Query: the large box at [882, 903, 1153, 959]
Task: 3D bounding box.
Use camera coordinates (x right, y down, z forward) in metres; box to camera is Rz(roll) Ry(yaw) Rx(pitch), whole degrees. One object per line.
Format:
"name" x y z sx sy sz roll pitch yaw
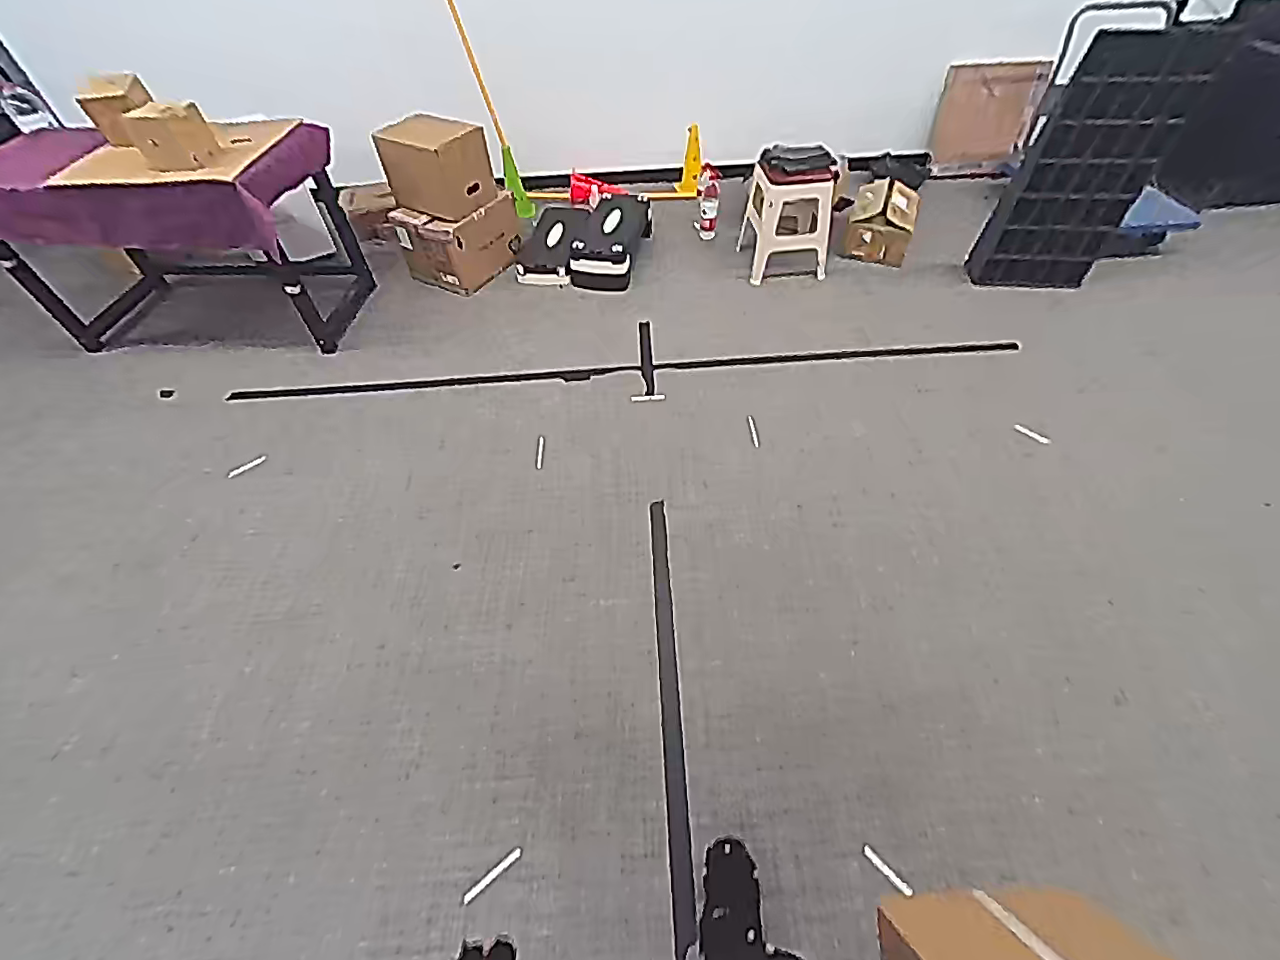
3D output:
"large box" 0.521 0.754 0.595 0.320 0.408 0.320 0 79 -3
